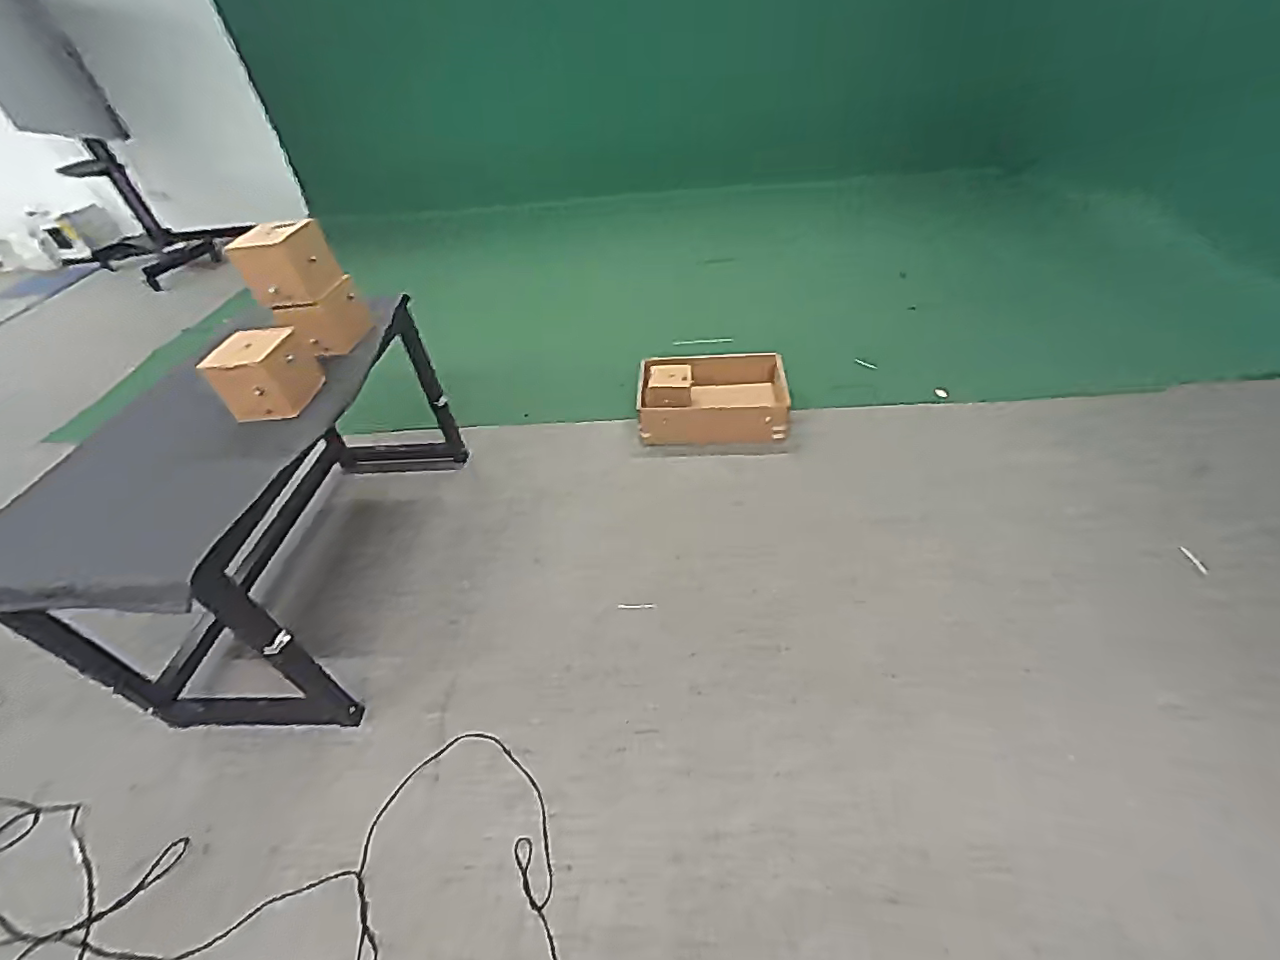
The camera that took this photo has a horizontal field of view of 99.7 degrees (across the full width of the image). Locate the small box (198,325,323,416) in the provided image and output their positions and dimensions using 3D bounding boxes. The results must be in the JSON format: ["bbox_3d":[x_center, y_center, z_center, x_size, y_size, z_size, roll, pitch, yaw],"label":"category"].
[{"bbox_3d":[-0.957,-0.275,1.387,0.168,0.176,0.179,-2,43,5],"label":"small box"}]

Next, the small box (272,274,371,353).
[{"bbox_3d":[-0.937,-0.496,1.611,0.168,0.176,0.179,0,45,9],"label":"small box"}]

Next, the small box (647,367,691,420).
[{"bbox_3d":[0.130,-0.375,2.362,0.179,0.176,0.168,0,45,7],"label":"small box"}]

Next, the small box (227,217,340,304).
[{"bbox_3d":[-0.967,-0.604,1.490,0.168,0.176,0.179,0,45,8],"label":"small box"}]
